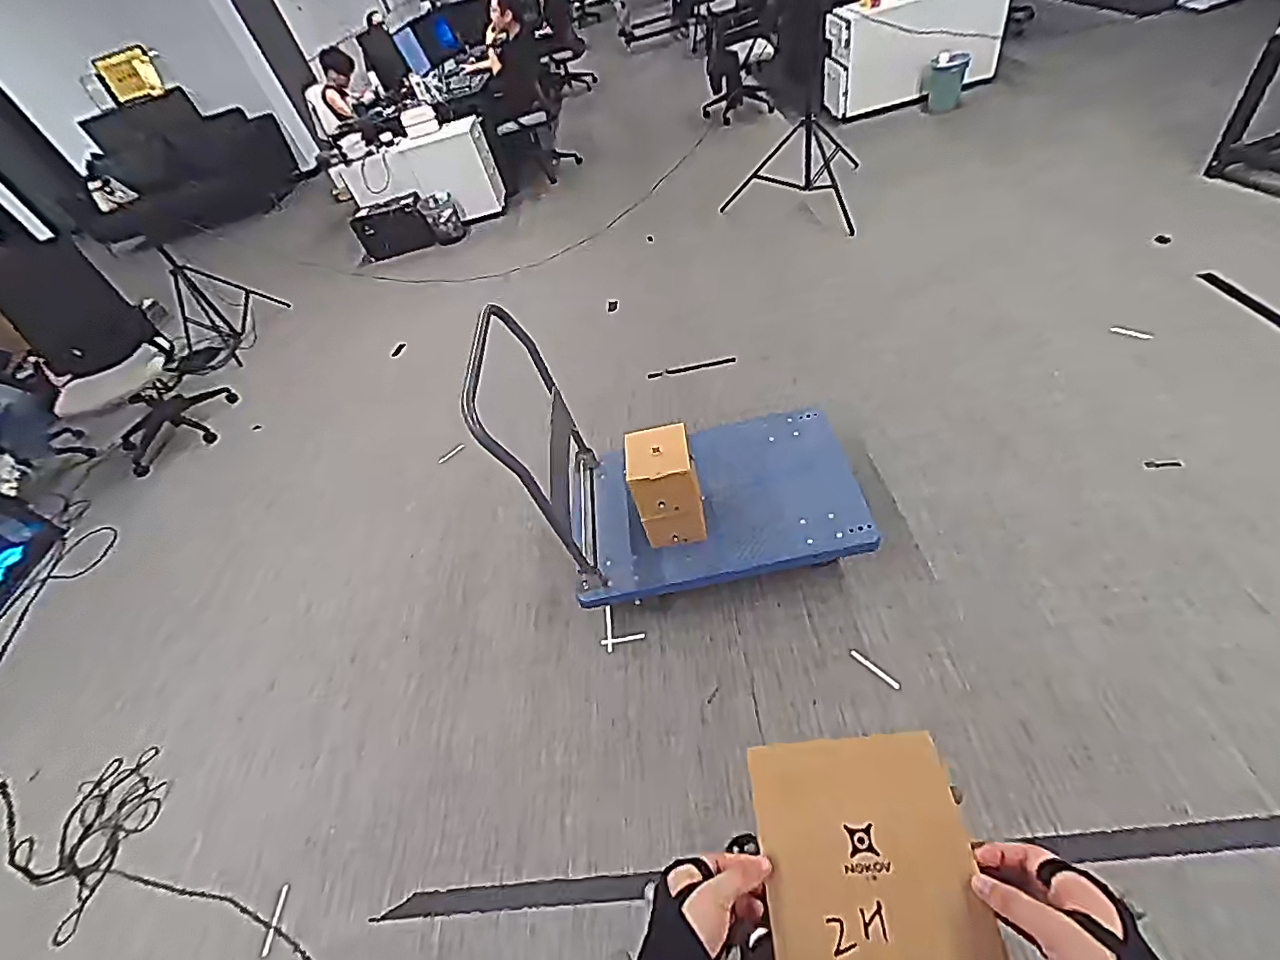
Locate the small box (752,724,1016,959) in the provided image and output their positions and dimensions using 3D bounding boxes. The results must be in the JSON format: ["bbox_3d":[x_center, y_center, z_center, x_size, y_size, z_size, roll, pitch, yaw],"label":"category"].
[{"bbox_3d":[0.201,0.346,0.497,0.168,0.176,0.179,-10,49,9],"label":"small box"}]

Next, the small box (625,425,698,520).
[{"bbox_3d":[0.059,-0.018,1.452,0.168,0.176,0.179,-11,48,7],"label":"small box"}]
